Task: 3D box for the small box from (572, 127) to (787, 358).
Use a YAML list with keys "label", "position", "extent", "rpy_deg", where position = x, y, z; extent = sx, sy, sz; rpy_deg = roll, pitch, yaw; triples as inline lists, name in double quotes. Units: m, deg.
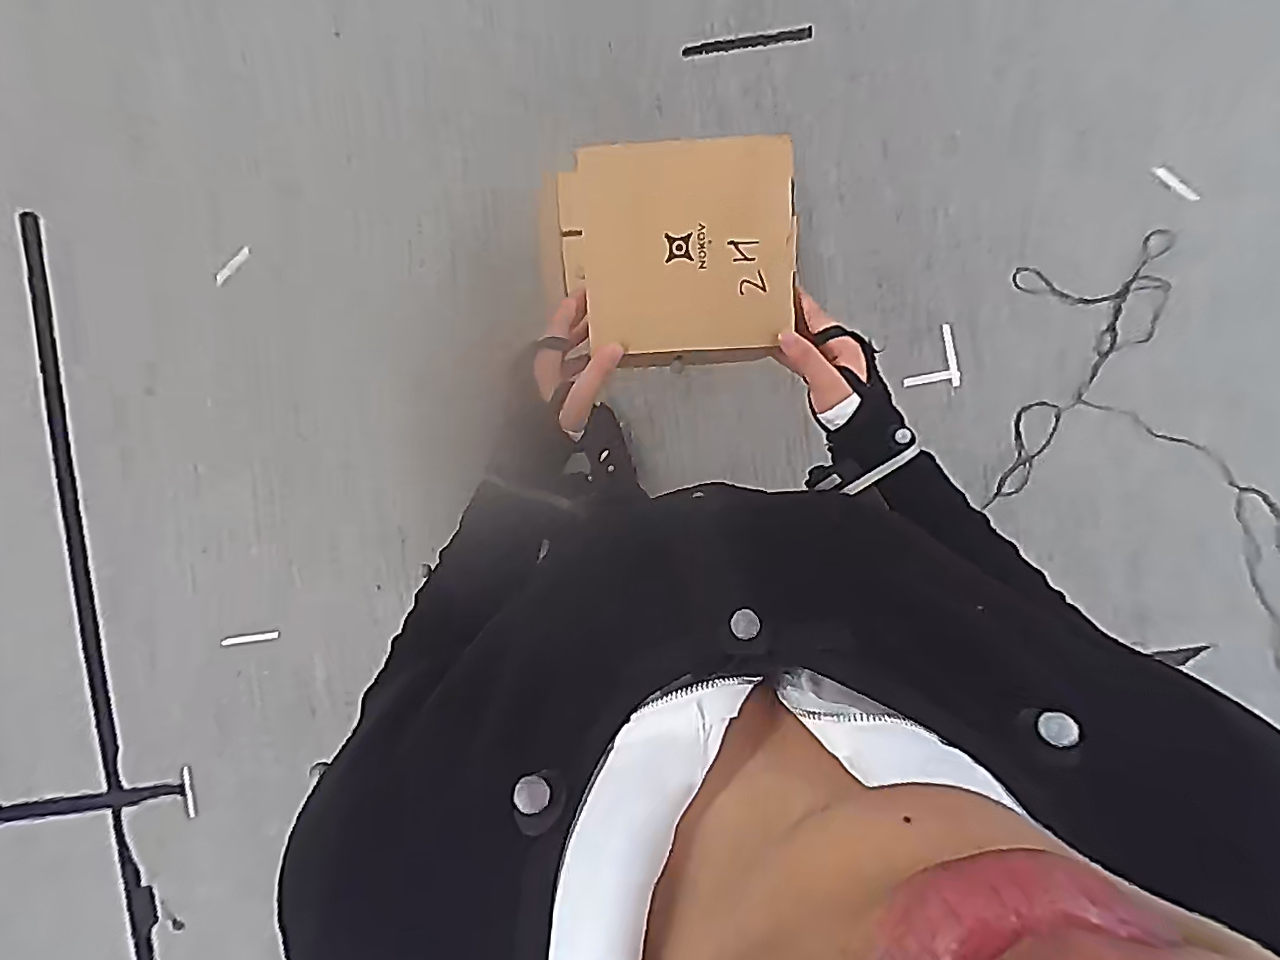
- label: "small box"
  position: [0.035, -0.211, 0.526]
  extent: [0.179, 0.176, 0.168]
  rpy_deg: [-3, 99, 0]
